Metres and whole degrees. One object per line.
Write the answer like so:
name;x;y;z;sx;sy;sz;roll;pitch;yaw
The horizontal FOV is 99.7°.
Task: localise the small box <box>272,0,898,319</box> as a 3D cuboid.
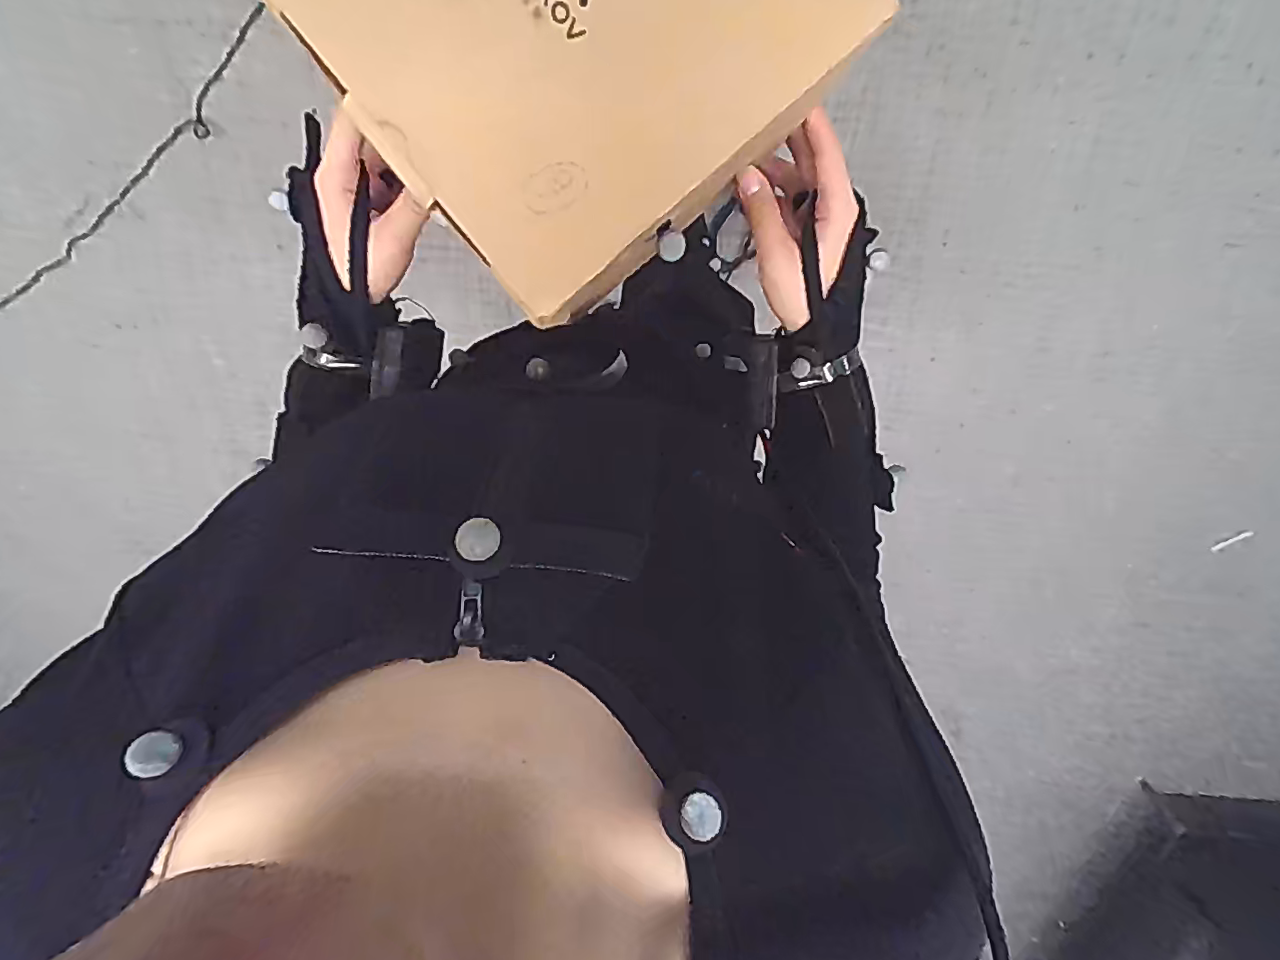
small box;-0.024;-0.196;0.265;0.179;0.176;0.168;-38;104;9
